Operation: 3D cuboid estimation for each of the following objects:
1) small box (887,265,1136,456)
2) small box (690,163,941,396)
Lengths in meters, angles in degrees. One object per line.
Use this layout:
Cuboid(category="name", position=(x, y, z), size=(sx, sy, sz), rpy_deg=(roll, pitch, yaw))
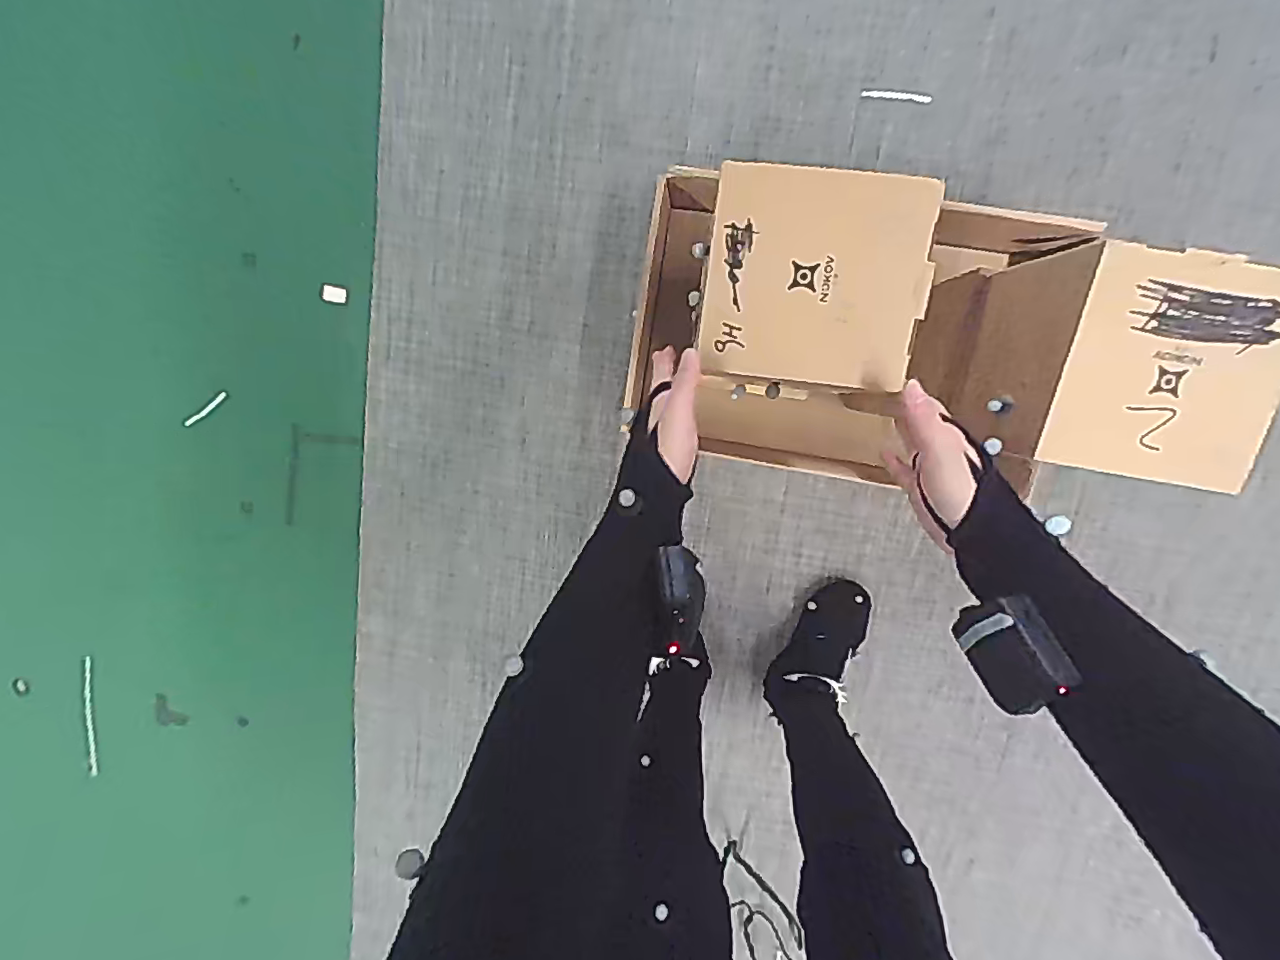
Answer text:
Cuboid(category="small box", position=(0.425, -0.141, 0.658), size=(0.168, 0.176, 0.179), rpy_deg=(13, 102, 3))
Cuboid(category="small box", position=(0.146, -0.175, 0.516), size=(0.179, 0.176, 0.168), rpy_deg=(7, 100, 4))
